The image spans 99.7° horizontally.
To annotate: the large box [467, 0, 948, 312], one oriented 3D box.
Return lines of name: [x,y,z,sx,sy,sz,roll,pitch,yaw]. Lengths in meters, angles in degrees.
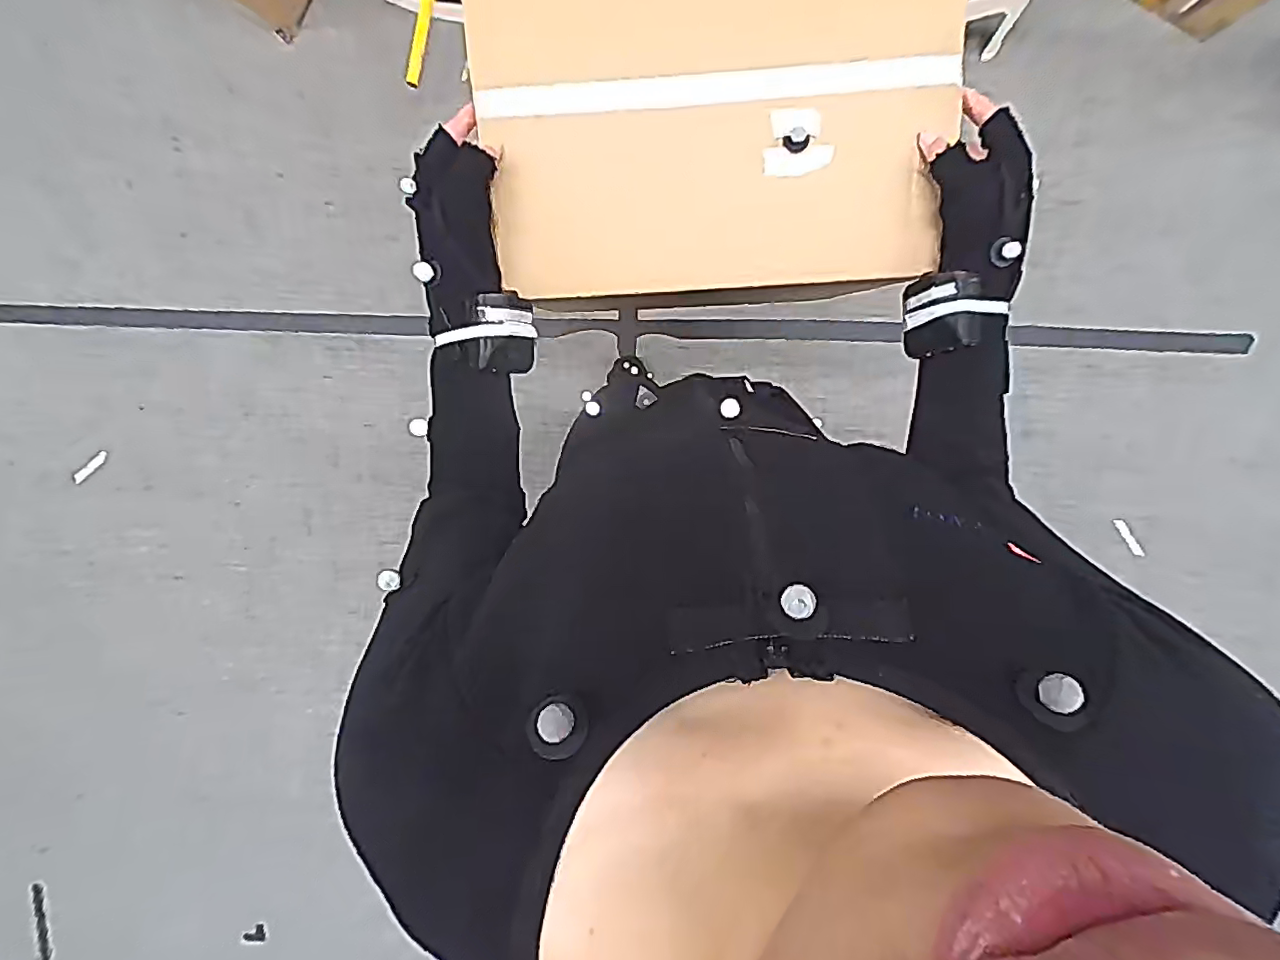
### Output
large box: [0.058,-0.371,0.608,0.408,0.320,0.320,-3,105,1]
